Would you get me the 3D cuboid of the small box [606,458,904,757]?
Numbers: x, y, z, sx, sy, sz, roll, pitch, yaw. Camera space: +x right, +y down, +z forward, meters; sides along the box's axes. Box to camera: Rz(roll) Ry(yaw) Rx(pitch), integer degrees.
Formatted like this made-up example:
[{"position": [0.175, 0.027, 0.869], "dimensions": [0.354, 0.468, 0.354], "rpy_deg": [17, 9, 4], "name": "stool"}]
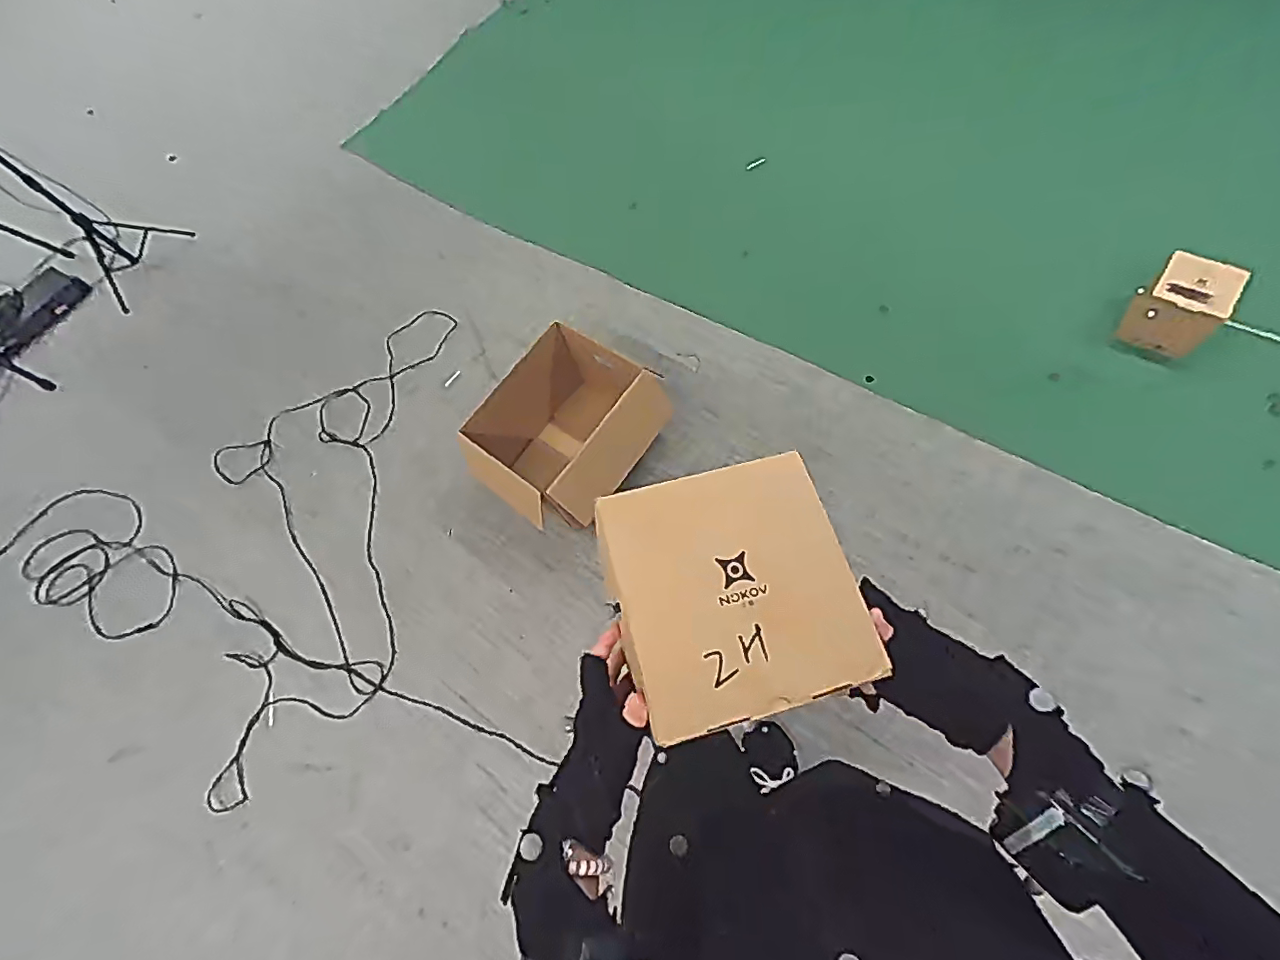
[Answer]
[{"position": [0.068, 0.108, 0.443], "dimensions": [0.168, 0.176, 0.179], "rpy_deg": [-13, 68, -8], "name": "small box"}]
